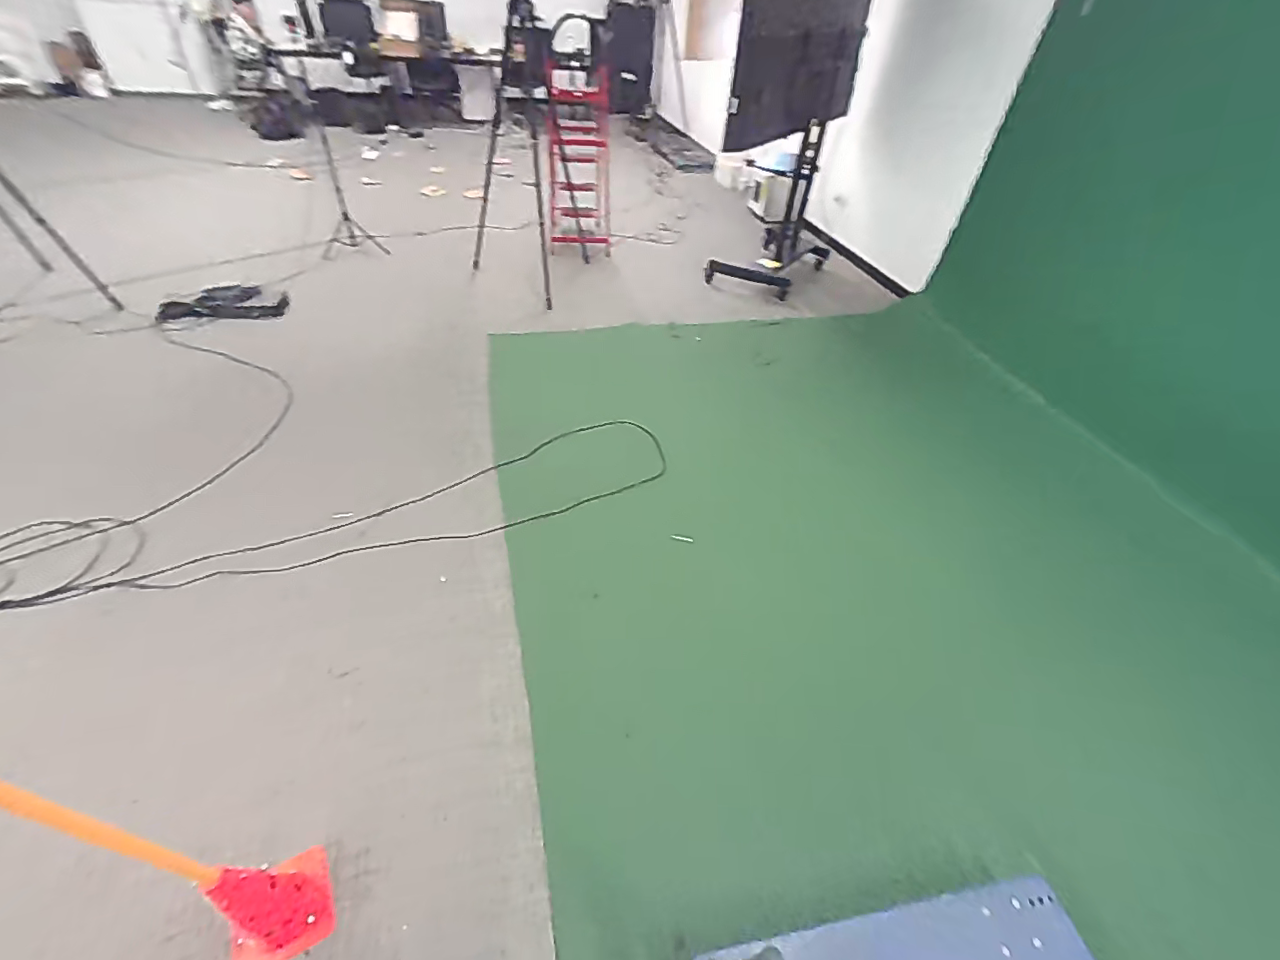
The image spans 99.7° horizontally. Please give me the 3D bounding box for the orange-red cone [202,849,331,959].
[{"bbox_3d":[-0.816,0.870,1.131,0.198,0.360,0.199,-18,47,-24],"label":"orange-red cone"}]
